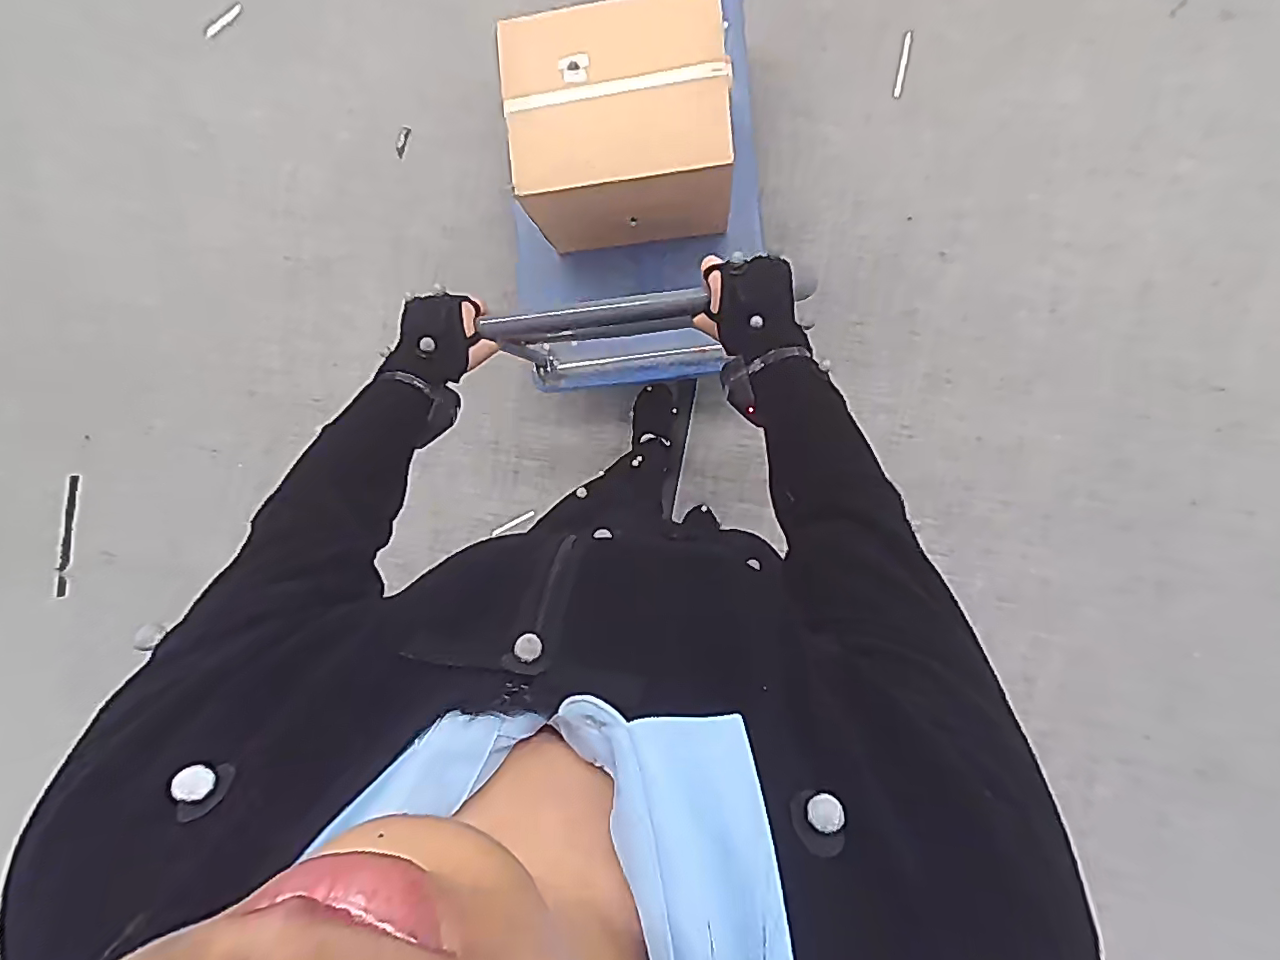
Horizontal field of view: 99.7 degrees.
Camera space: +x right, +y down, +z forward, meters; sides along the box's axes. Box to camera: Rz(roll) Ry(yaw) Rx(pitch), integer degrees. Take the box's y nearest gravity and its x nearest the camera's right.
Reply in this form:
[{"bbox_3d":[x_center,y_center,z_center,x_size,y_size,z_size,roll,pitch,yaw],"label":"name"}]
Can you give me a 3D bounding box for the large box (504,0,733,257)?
[{"bbox_3d":[-0.024,-0.697,1.134,0.408,0.320,0.320,-5,92,8],"label":"large box"}]
